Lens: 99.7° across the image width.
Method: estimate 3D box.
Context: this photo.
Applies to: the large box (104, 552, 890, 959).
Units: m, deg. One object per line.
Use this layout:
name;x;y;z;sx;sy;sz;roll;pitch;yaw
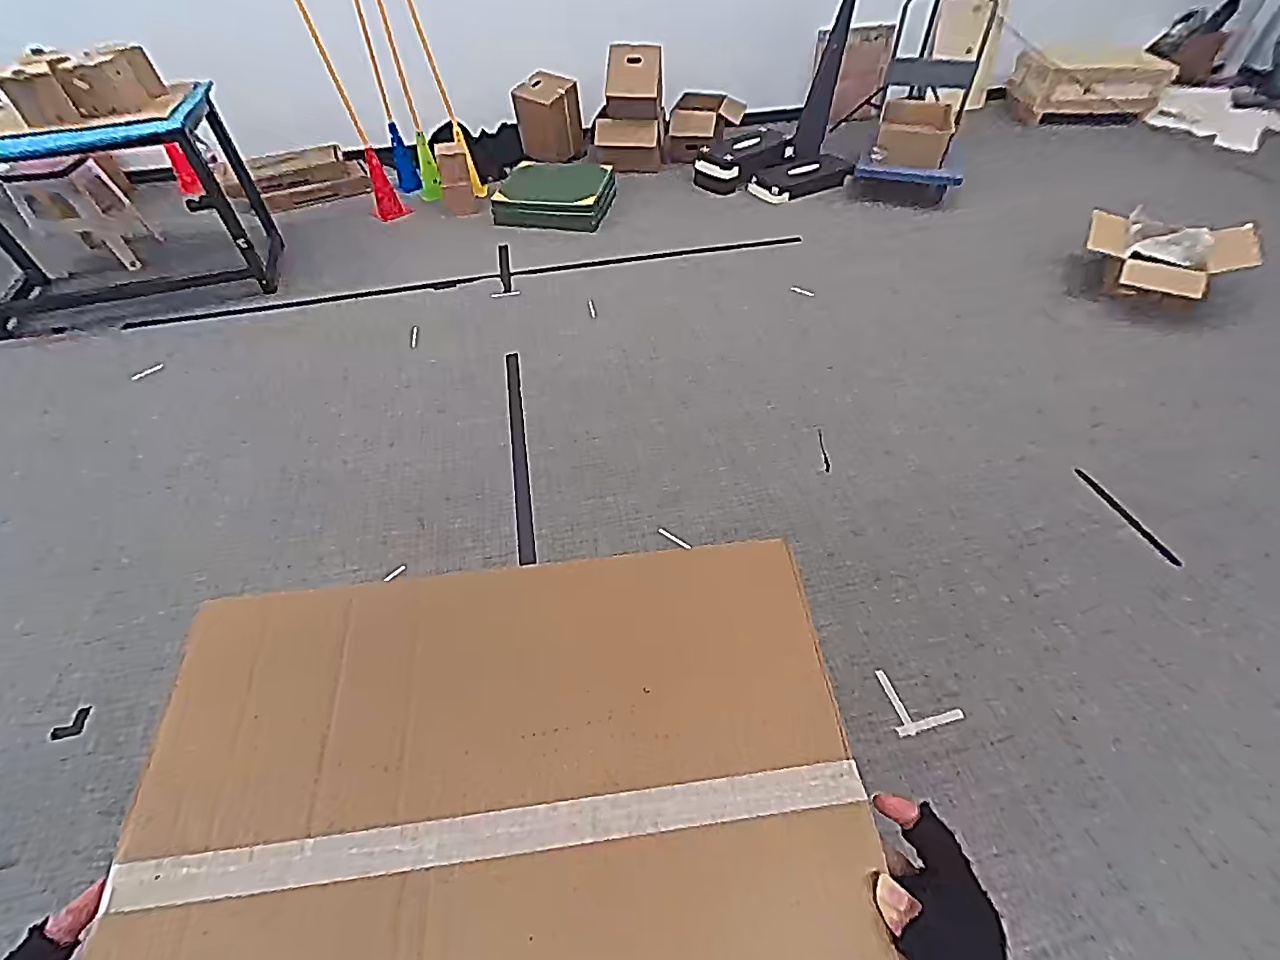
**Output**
large box;-0.077;0.281;0.431;0.408;0.320;0.320;-6;56;-4
